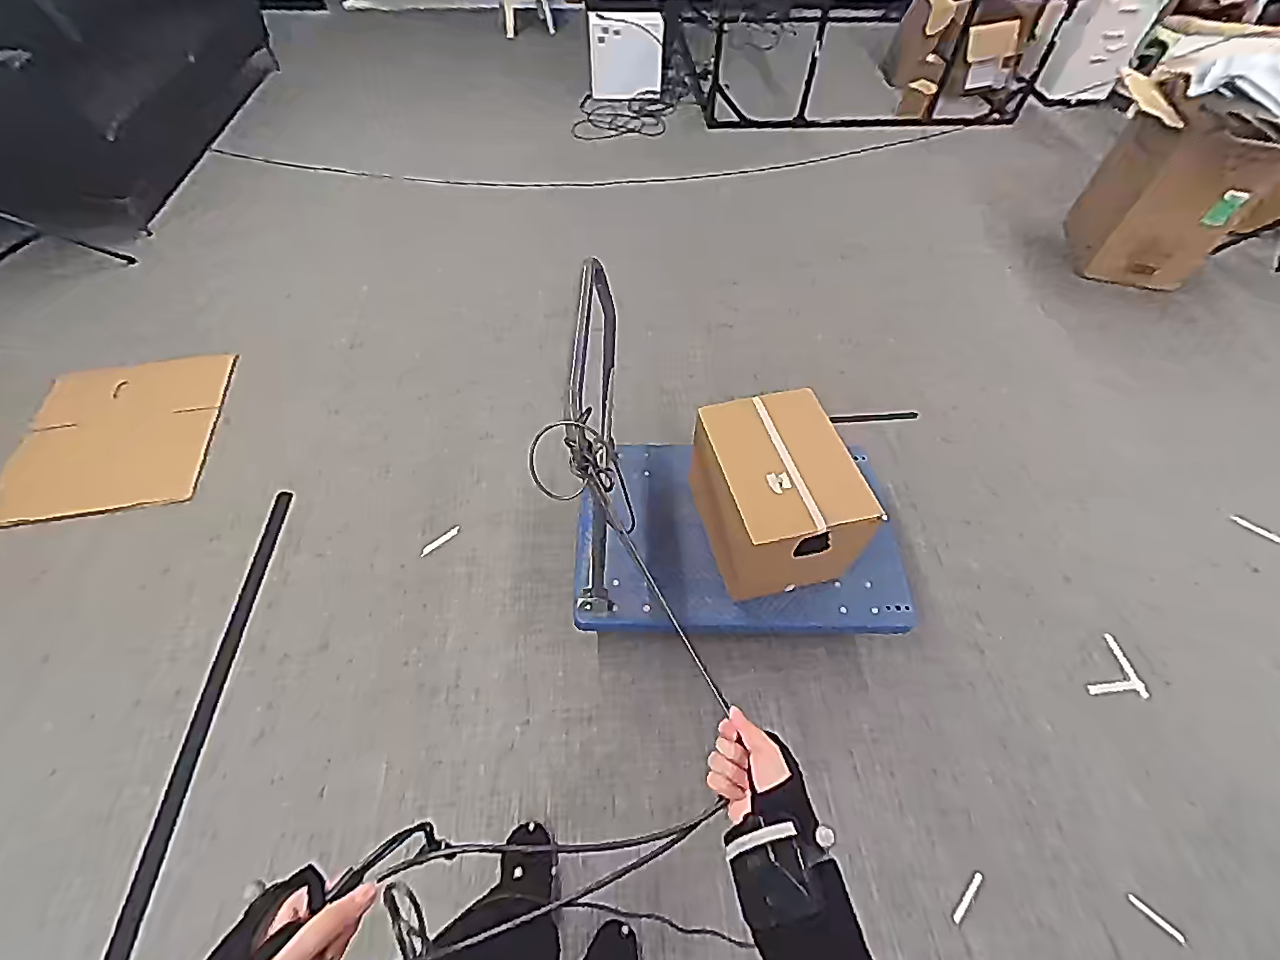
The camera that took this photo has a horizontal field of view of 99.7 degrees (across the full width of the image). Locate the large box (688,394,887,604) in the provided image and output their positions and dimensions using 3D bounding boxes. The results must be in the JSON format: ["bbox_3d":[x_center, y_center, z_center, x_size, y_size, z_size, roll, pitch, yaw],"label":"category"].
[{"bbox_3d":[0.338,0.047,1.380,0.320,0.320,0.408,-11,57,-8],"label":"large box"}]
